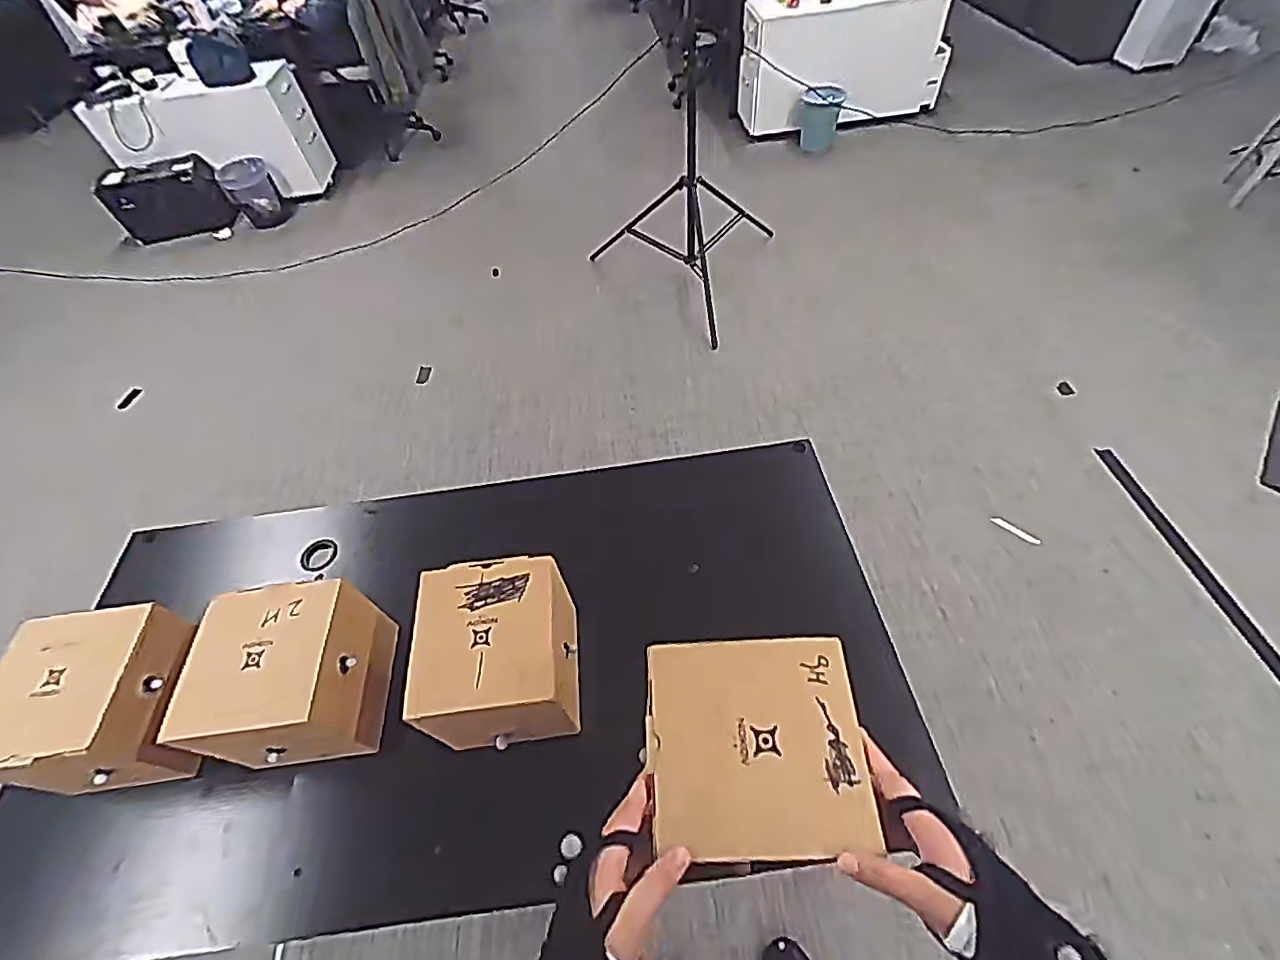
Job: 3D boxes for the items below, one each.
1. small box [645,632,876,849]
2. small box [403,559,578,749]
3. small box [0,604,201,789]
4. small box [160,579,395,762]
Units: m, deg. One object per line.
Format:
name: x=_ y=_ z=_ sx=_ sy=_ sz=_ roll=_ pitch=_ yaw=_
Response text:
small box: x=0.100 y=0.254 z=0.519 sx=0.179 sy=0.176 sz=0.168 roll=-3 pitch=57 yaw=4
small box: x=-0.174 y=0.223 z=0.688 sx=0.168 sy=0.176 sz=0.179 roll=-7 pitch=54 yaw=0
small box: x=-0.675 y=0.283 z=0.694 sx=0.168 sy=0.176 sz=0.179 roll=-8 pitch=52 yaw=-2
small box: x=-0.438 y=0.250 z=0.693 sx=0.168 sy=0.176 sz=0.179 roll=-7 pitch=53 yaw=-1
